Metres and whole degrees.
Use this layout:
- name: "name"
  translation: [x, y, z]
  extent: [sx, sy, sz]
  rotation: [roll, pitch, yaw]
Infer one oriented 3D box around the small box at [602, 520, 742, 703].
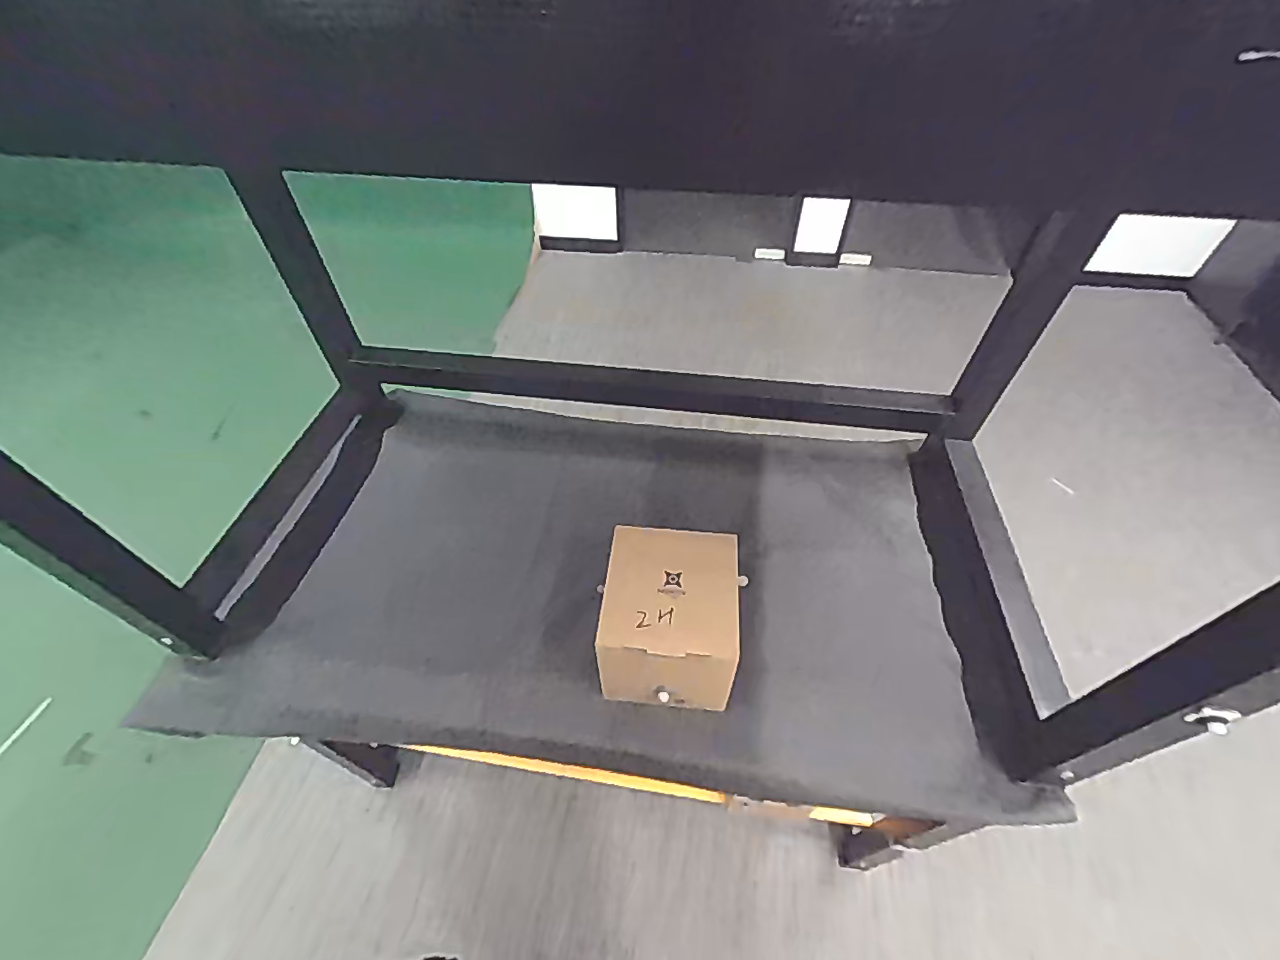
- name: "small box"
  translation: [0.045, 0.179, 0.735]
  extent: [0.168, 0.176, 0.179]
  rotation: [4, 48, 5]
